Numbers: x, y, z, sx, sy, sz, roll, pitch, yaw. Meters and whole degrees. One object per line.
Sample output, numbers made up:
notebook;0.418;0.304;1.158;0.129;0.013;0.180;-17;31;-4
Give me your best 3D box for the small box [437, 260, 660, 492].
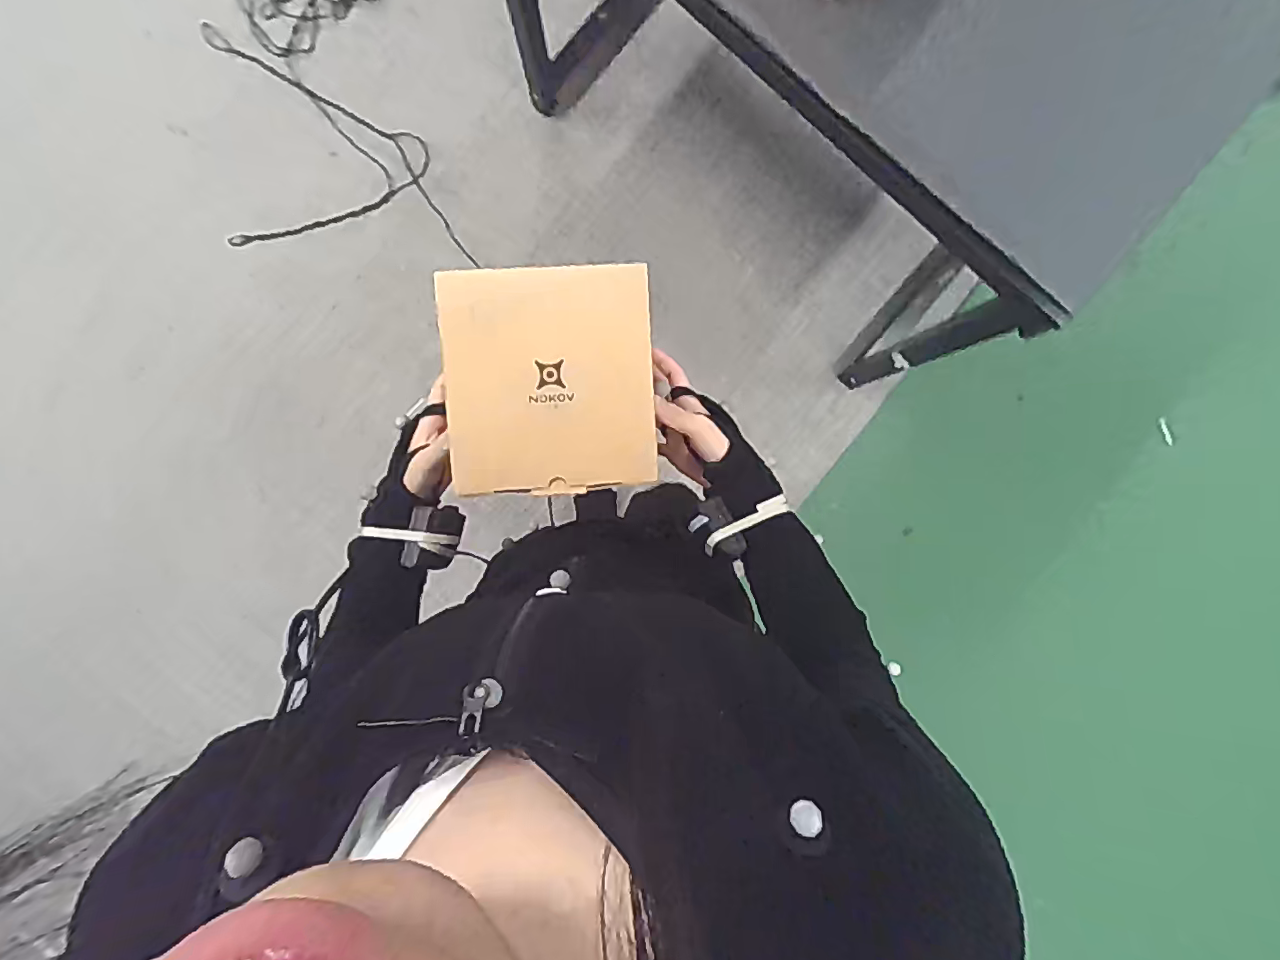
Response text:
small box;-0.076;-0.087;0.499;0.168;0.176;0.179;-4;96;-4
